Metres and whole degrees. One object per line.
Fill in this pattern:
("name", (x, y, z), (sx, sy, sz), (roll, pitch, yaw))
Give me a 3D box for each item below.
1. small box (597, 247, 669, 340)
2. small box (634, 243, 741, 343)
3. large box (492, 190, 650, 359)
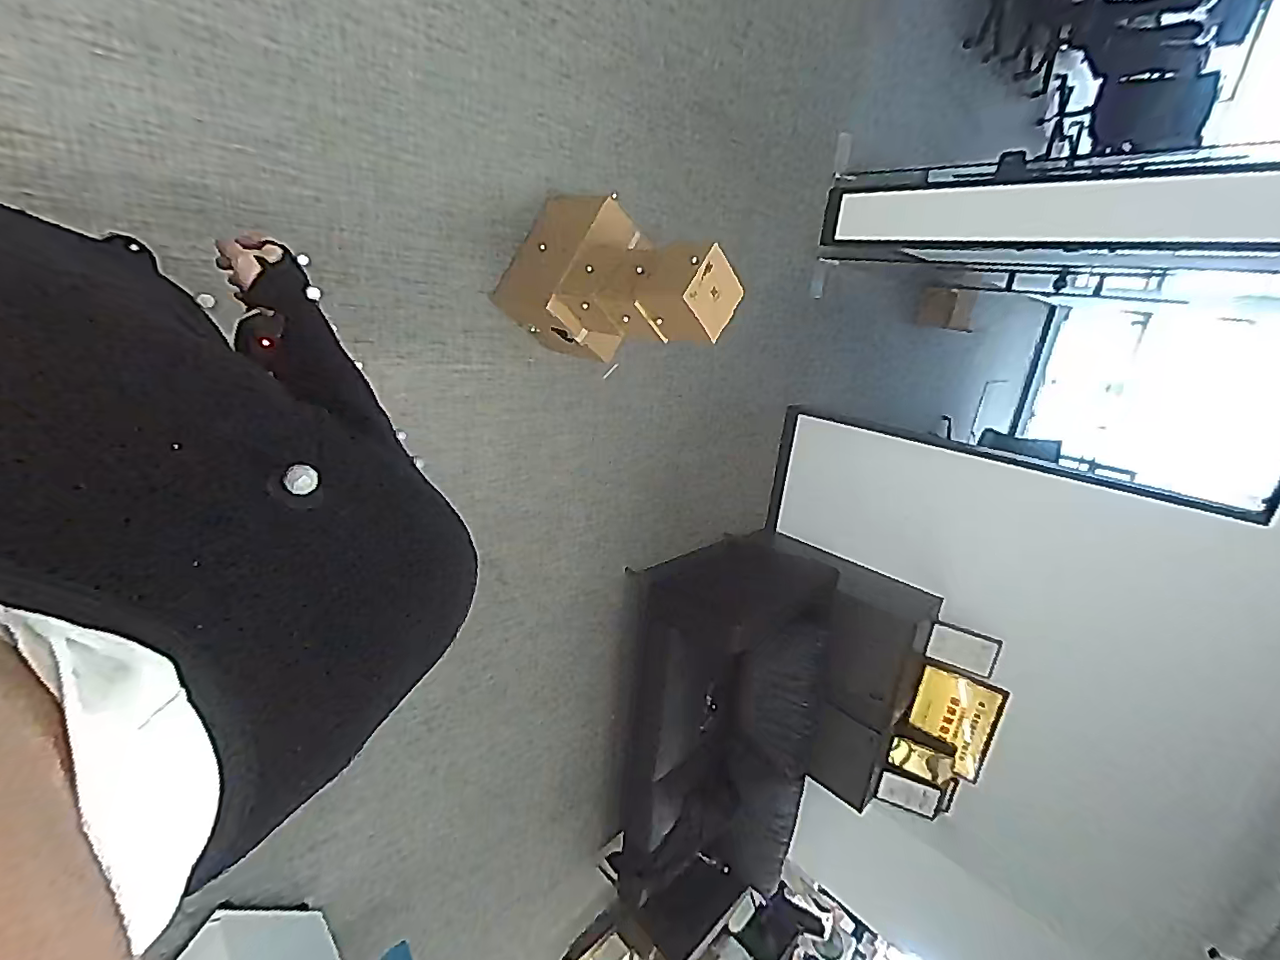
("small box", (0.008, -0.505, 1.468), (0.168, 0.176, 0.179), (39, 76, -48))
("small box", (0.119, -0.470, 1.352), (0.179, 0.176, 0.168), (41, 75, -48))
("large box", (-0.214, -0.667, 1.782), (0.320, 0.320, 0.408), (34, 81, -51))
